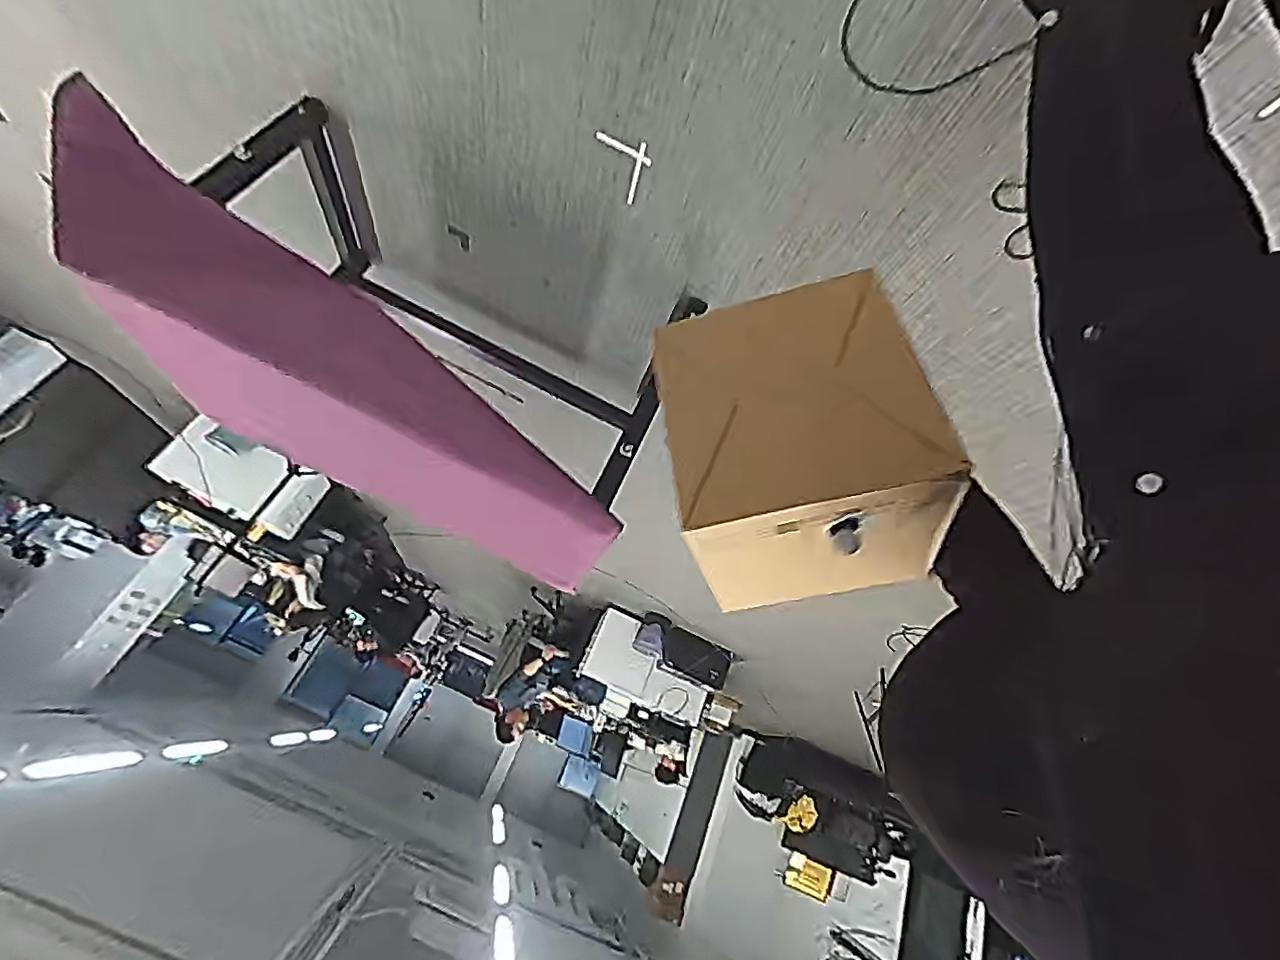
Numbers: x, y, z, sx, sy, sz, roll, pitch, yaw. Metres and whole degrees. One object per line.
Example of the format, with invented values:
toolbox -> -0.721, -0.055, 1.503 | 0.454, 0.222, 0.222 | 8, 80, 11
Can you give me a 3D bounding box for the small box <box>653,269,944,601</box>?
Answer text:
small box -> 0.114, -0.029, 0.418 | 0.168, 0.179, 0.176 | -14, 145, 14
